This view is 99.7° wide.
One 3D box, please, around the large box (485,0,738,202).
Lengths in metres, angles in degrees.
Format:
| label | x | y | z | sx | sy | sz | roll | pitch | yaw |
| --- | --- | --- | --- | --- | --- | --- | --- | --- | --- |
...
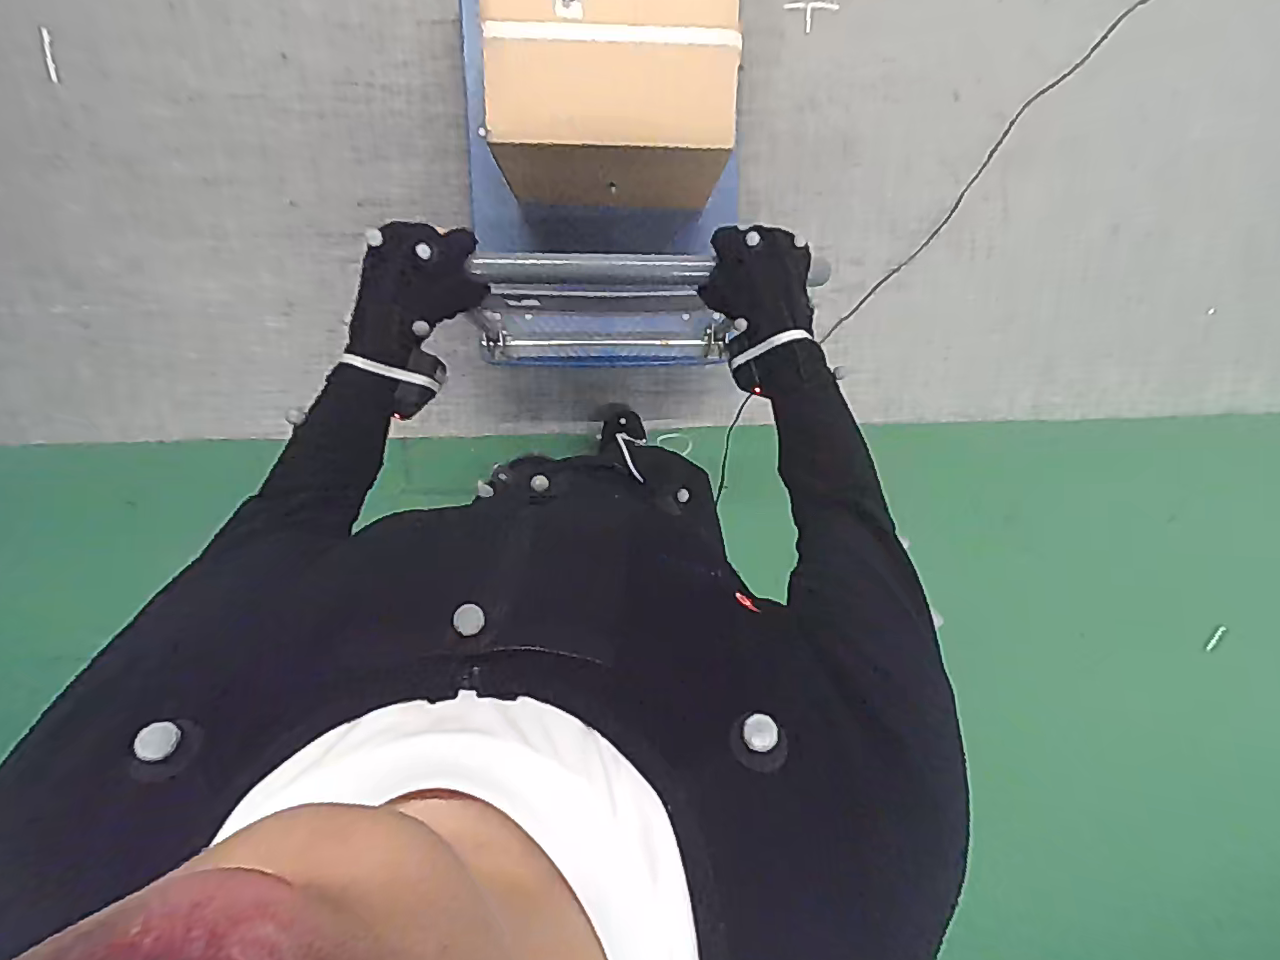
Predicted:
| label | x | y | z | sx | sy | sz | roll | pitch | yaw |
| --- | --- | --- | --- | --- | --- | --- | --- | --- | --- |
| large box | -0.047 | -0.725 | 1.000 | 0.408 | 0.320 | 0.320 | 0 | 100 | -2 |
